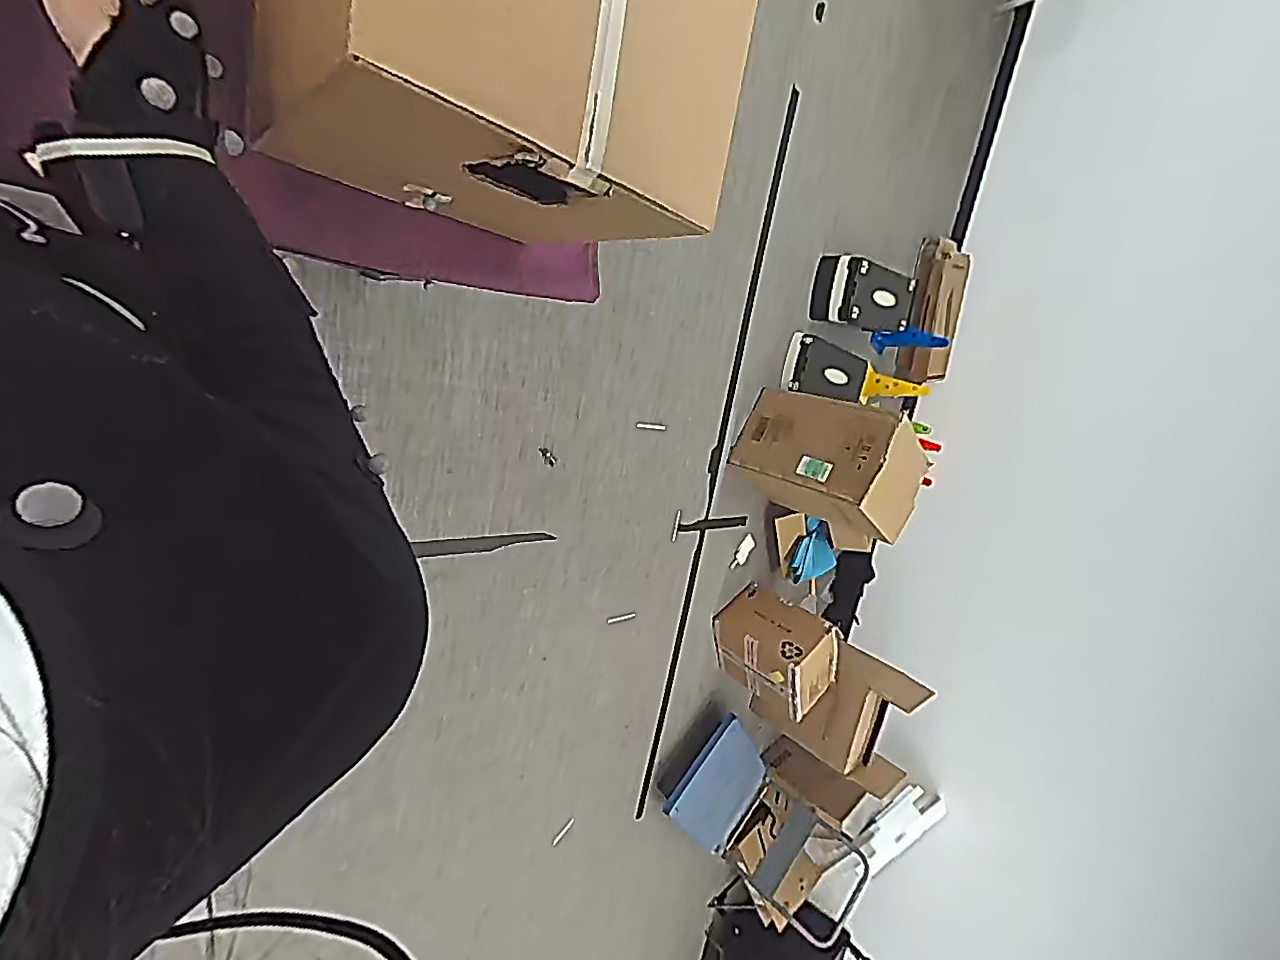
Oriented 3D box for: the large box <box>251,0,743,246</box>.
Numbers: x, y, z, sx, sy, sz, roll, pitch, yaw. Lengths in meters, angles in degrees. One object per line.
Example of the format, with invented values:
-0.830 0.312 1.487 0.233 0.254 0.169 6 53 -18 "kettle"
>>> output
-0.120 -0.453 0.461 0.320 0.320 0.408 -1 106 -46 "large box"
